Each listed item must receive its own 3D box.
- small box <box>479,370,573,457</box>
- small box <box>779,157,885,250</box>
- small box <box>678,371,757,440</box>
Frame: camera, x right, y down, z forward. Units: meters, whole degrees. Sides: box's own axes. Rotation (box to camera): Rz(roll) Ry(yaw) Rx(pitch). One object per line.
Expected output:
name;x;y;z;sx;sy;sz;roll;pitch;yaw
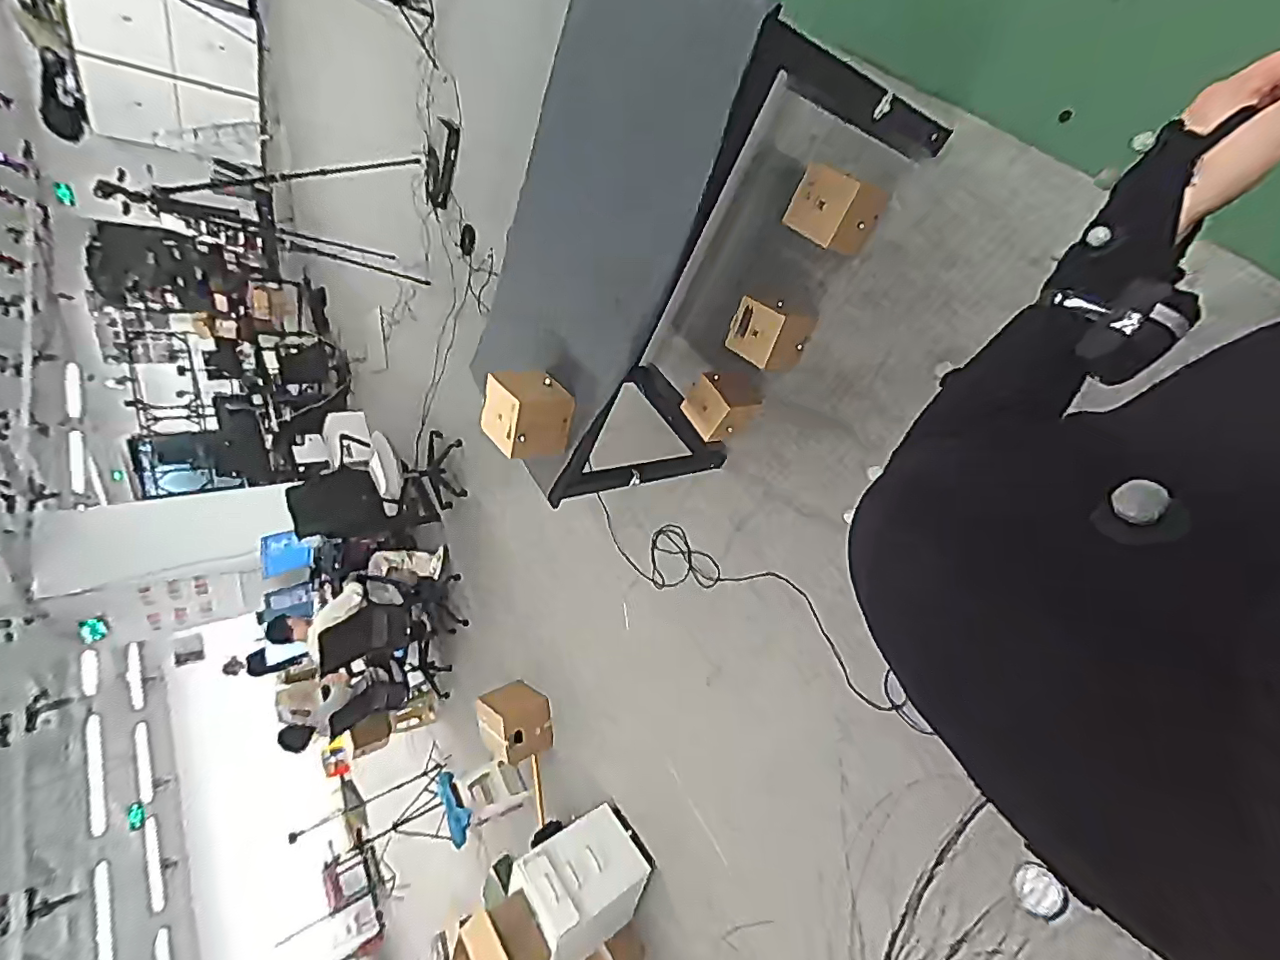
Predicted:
small box;-0.304;-0.180;1.436;0.179;0.176;0.168;43;128;35
small box;0.523;-0.741;1.463;0.179;0.176;0.168;50;132;31
small box;0.272;-0.265;1.880;0.179;0.176;0.168;57;136;25
